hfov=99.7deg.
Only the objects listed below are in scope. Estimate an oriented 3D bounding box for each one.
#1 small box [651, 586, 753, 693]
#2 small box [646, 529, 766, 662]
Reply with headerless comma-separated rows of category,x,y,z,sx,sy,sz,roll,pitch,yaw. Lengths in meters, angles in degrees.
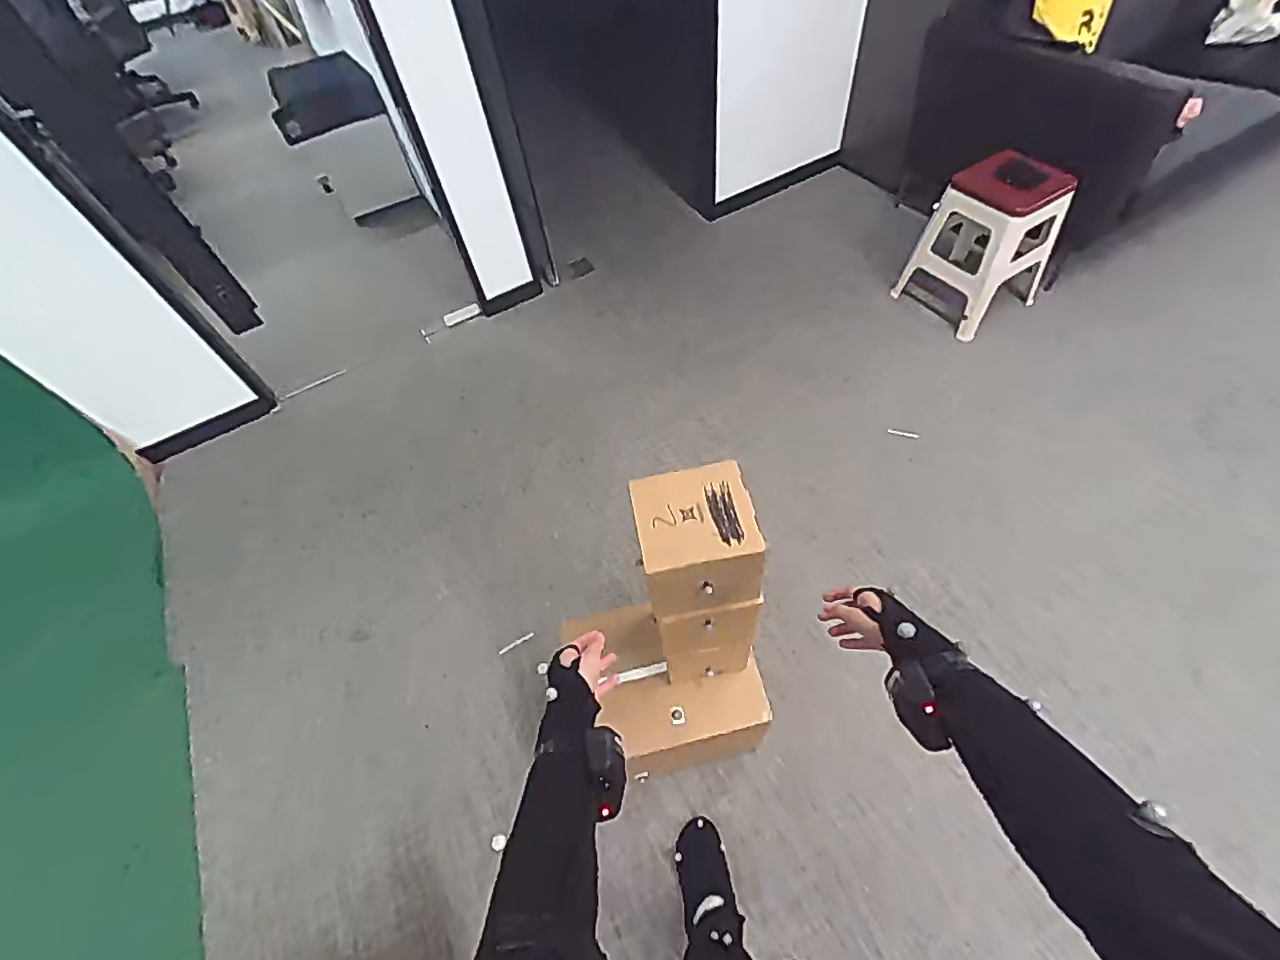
small box,0.122,0.313,1.111,0.168,0.176,0.179,-12,52,-2
small box,0.114,0.214,0.983,0.179,0.176,0.168,-11,52,-1
